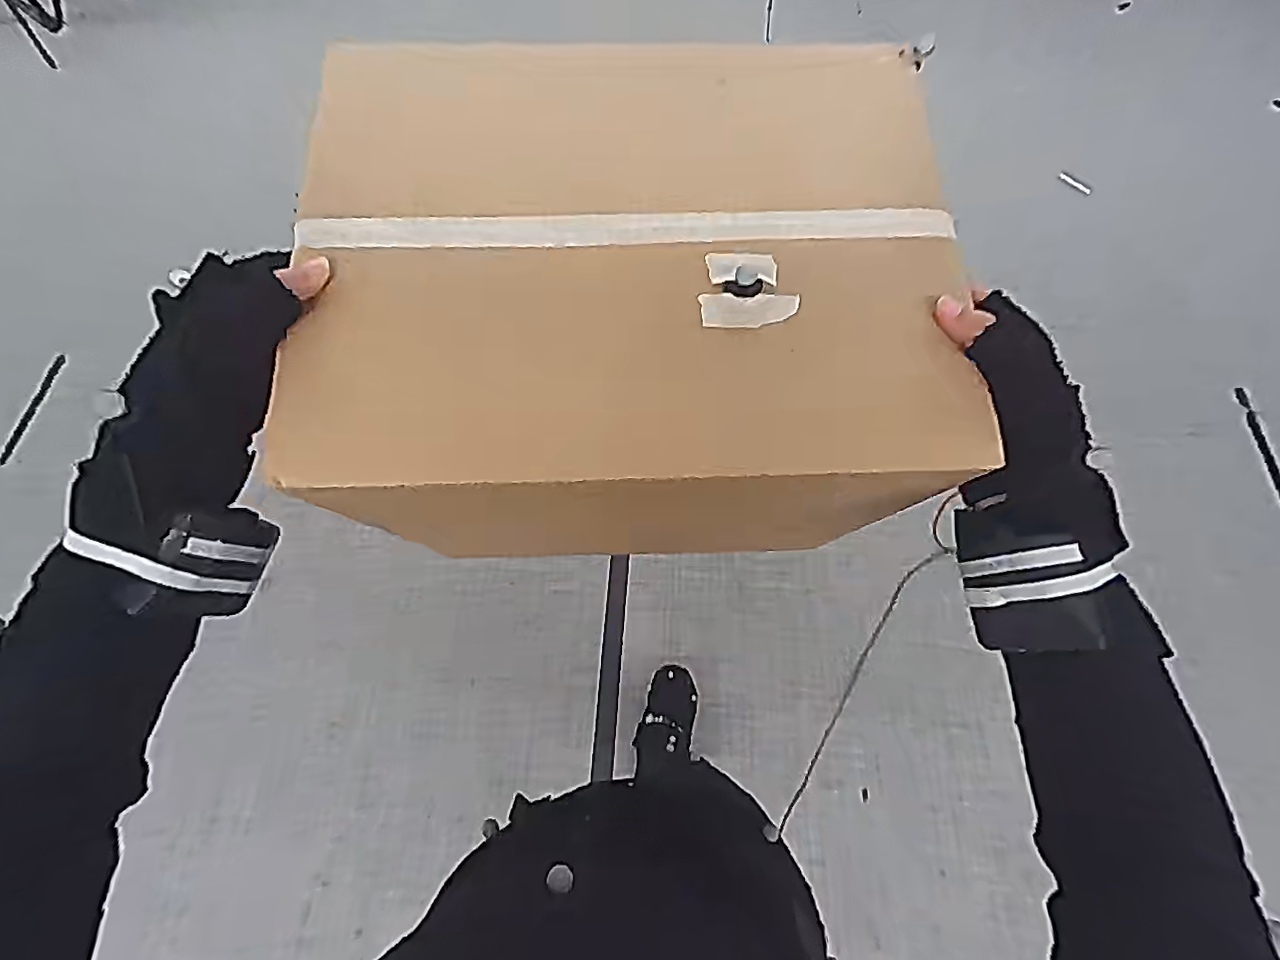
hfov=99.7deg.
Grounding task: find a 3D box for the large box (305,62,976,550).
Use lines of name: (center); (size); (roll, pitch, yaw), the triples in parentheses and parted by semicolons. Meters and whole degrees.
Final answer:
large box: (-0.006, -0.116, 0.497); (0.408, 0.320, 0.320); (-2, 76, -2)
